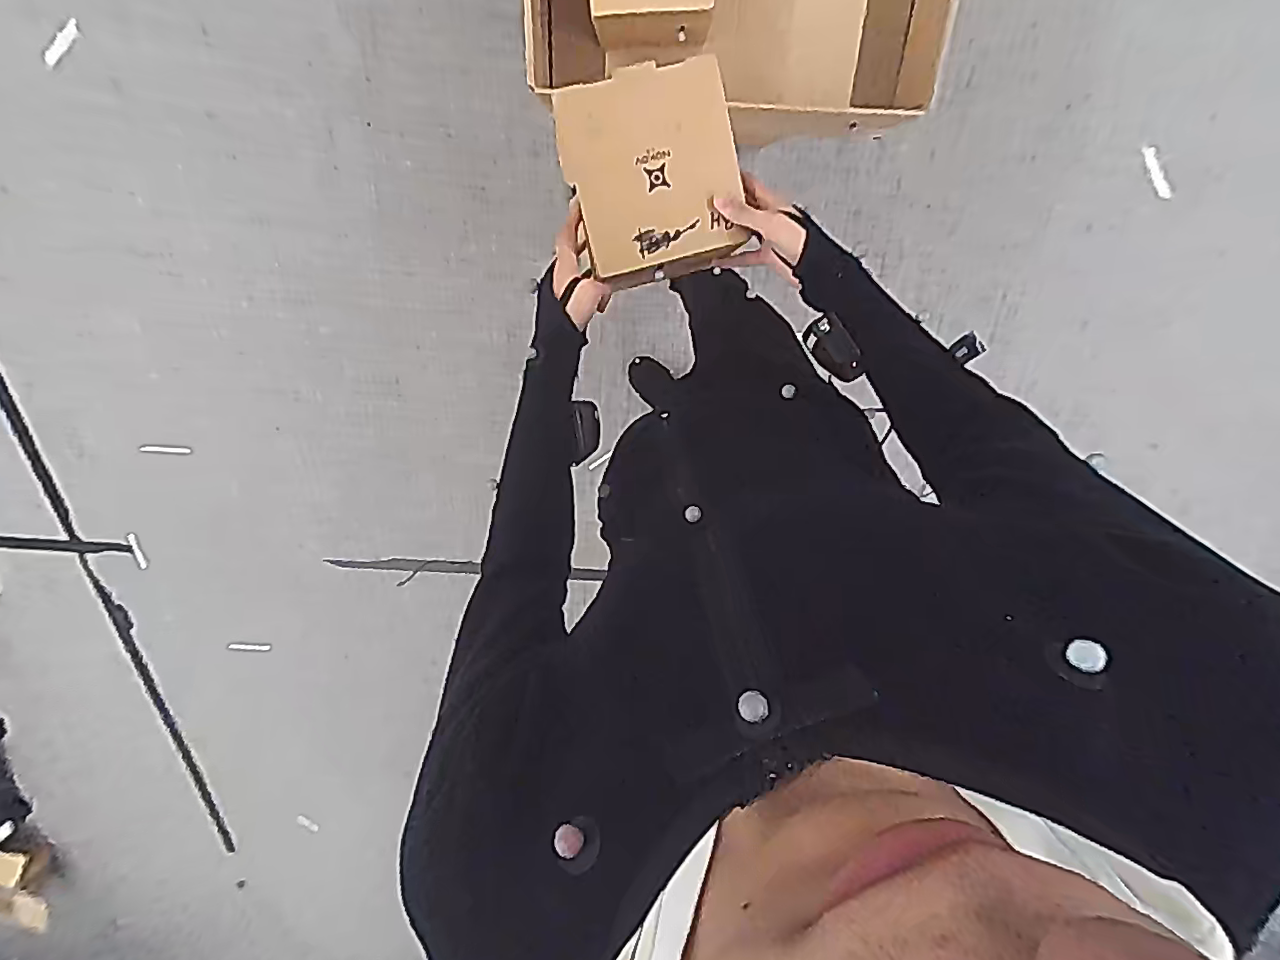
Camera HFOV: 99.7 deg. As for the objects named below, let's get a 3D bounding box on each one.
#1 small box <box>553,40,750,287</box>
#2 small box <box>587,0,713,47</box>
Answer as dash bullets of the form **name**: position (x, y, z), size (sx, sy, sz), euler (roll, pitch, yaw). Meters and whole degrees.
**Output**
- **small box**: position (0.006, -0.334, 0.607), size (0.168, 0.176, 0.179), euler (-15, 103, -2)
- **small box**: position (0.013, -0.757, 0.787), size (0.179, 0.176, 0.168), euler (-1, 115, 2)
